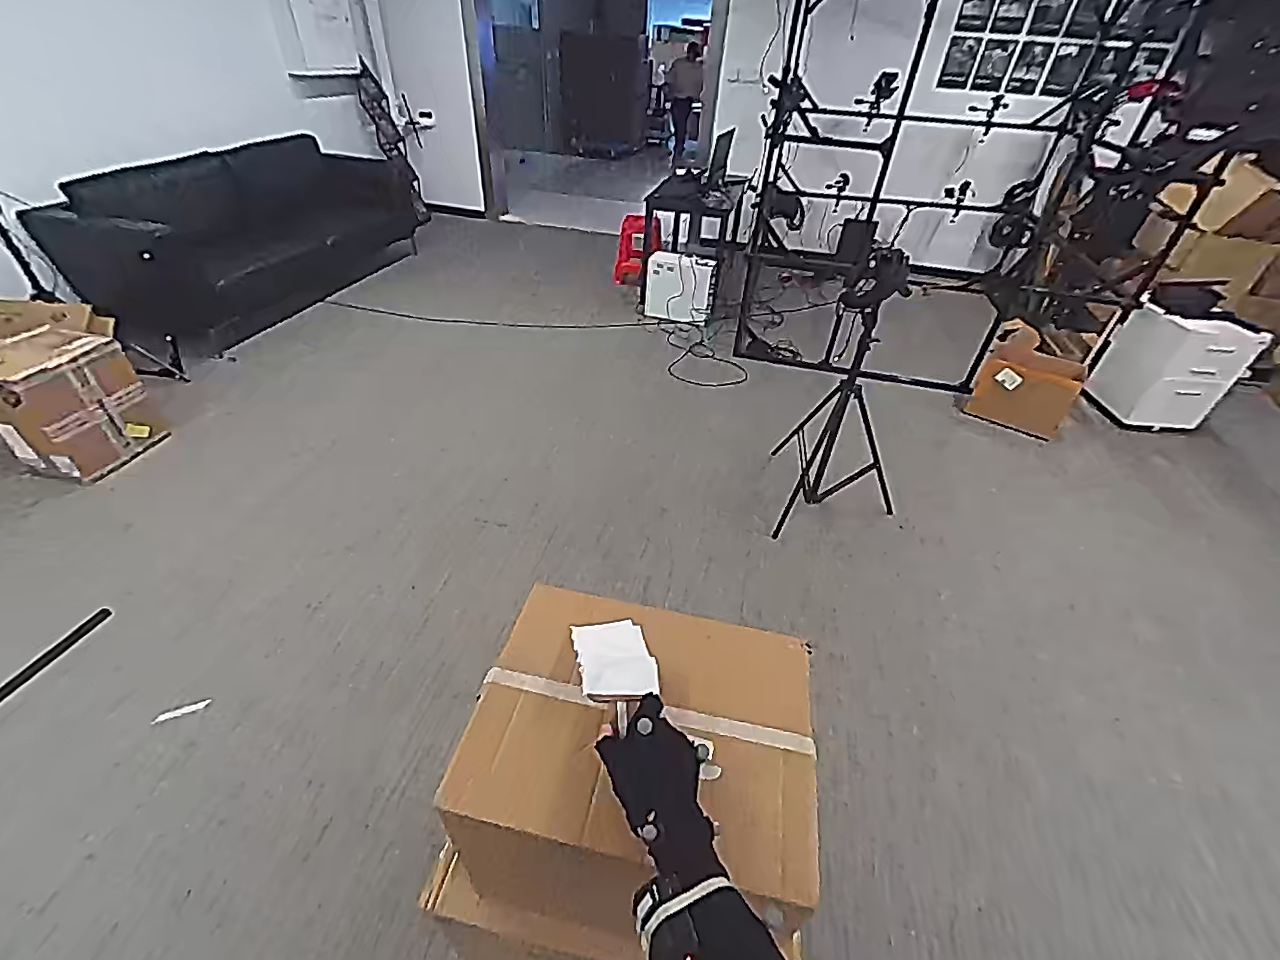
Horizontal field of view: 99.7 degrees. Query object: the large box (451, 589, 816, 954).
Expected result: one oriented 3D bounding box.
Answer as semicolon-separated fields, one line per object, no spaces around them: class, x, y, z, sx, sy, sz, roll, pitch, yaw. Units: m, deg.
large box;0.001;0.404;0.775;0.408;0.320;0.320;10;39;7
